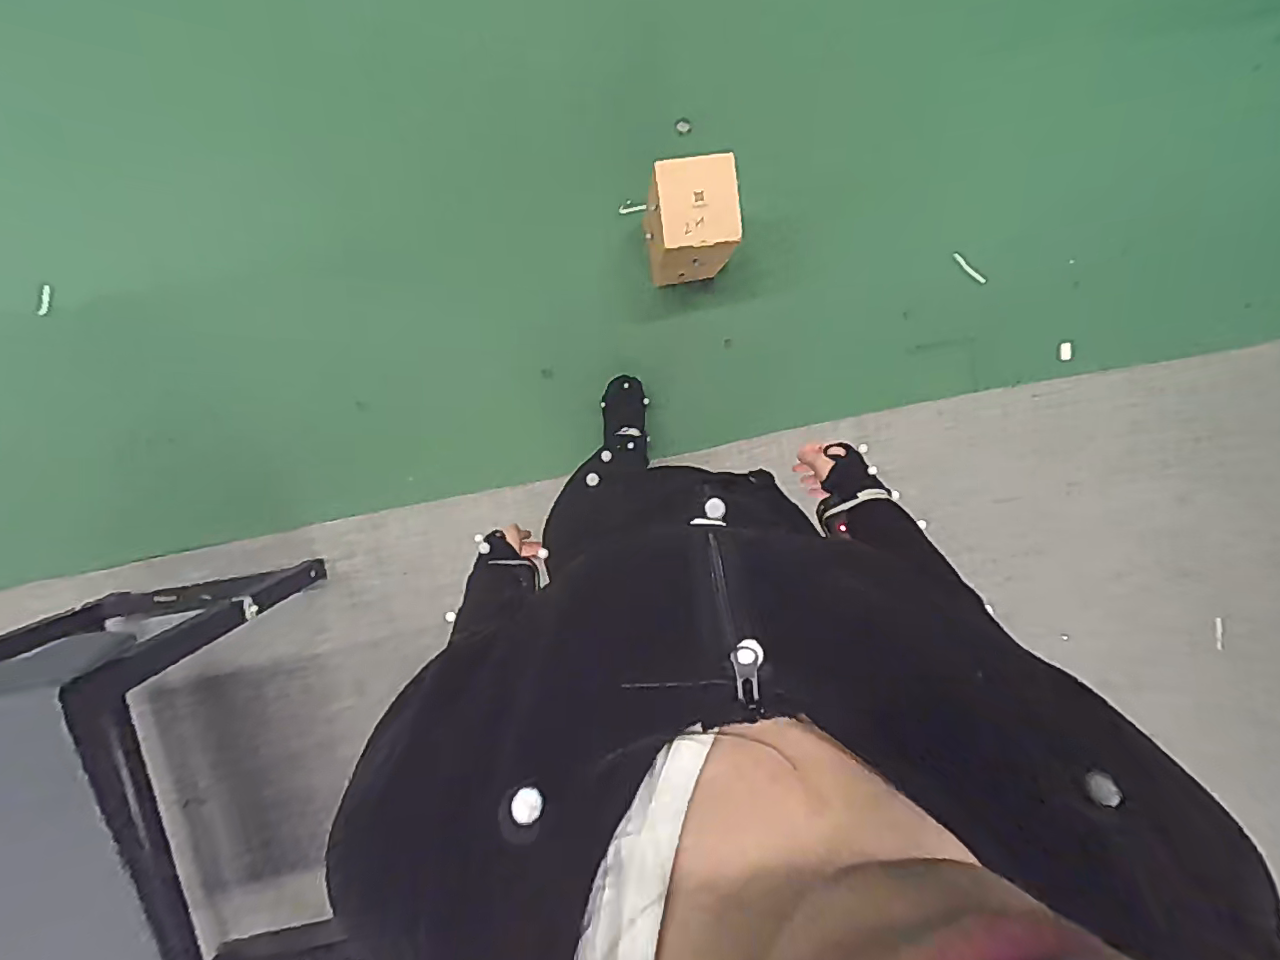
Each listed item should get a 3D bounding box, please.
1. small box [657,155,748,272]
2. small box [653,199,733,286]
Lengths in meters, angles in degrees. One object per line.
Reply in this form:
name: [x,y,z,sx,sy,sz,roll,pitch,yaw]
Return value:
small box: [0.131,-0.579,1.191,0.168,0.176,0.179,-8,97,-1]
small box: [0.128,-0.598,1.355,0.168,0.176,0.179,-11,96,0]
